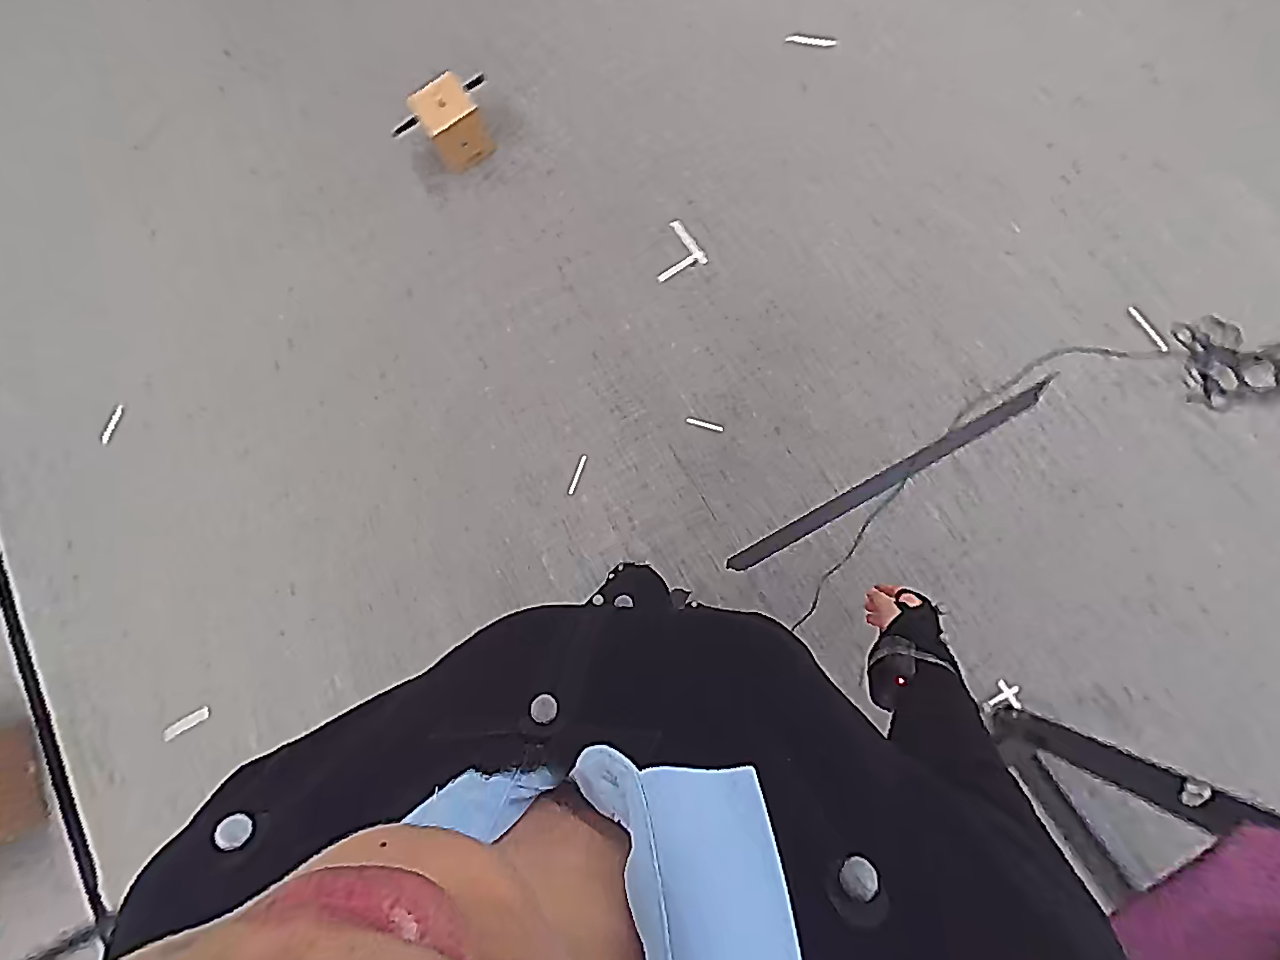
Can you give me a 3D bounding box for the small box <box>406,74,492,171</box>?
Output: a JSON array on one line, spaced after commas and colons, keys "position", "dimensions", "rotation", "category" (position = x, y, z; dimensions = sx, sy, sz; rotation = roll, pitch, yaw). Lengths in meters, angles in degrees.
[{"position": [-0.606, -1.135, 1.739], "dimensions": [0.168, 0.176, 0.179], "rotation": [-33, 78, 0], "category": "small box"}]
